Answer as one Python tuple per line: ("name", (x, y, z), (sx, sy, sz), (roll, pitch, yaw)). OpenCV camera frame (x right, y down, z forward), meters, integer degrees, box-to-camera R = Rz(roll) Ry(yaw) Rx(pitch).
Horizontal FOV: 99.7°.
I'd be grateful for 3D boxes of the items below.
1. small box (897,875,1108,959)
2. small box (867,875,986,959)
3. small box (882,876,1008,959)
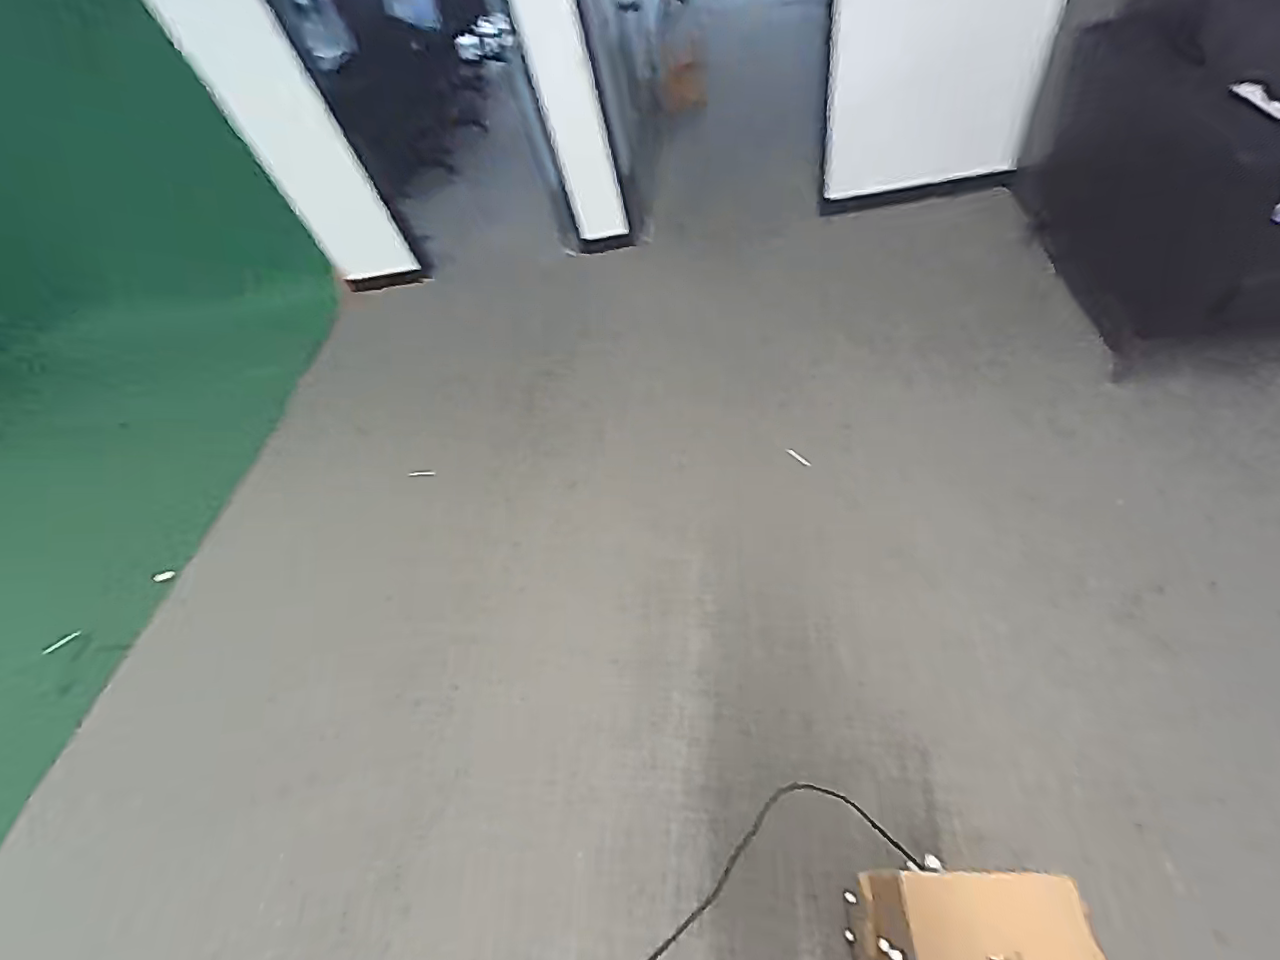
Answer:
("small box", (0.396, 0.547, 0.598), (0.179, 0.176, 0.168), (-7, 51, 12))
("small box", (0.469, 0.734, 0.857), (0.179, 0.176, 0.168), (-7, 51, 10))
("small box", (0.437, 0.644, 0.724), (0.168, 0.176, 0.179), (-8, 50, 11))
